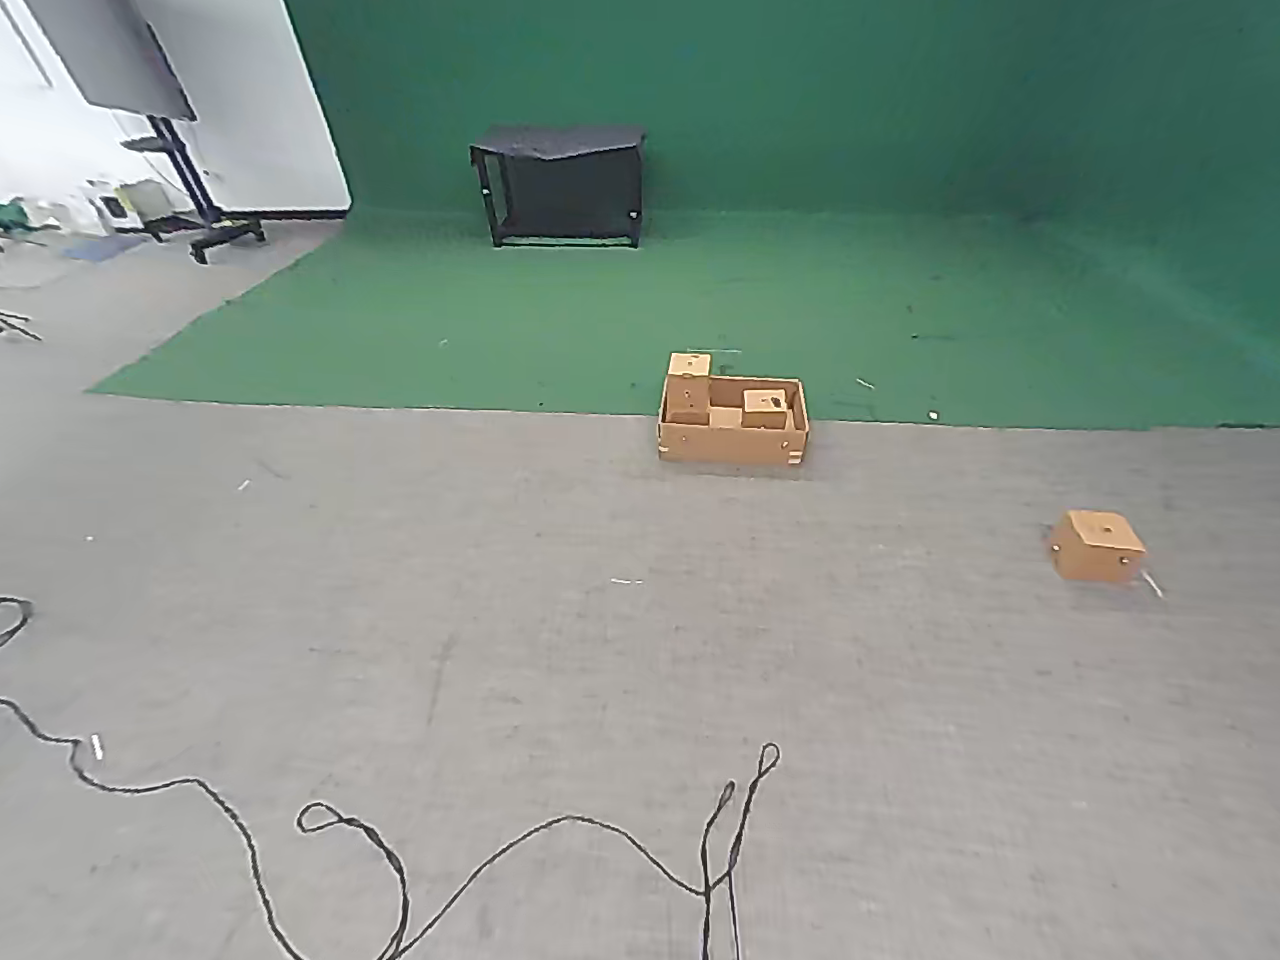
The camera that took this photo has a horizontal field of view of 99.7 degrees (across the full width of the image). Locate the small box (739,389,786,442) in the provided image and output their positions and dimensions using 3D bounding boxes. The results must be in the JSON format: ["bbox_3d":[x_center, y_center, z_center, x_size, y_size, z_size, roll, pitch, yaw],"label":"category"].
[{"bbox_3d":[0.528,-0.277,2.342,0.179,0.176,0.168,3,43,7],"label":"small box"}]

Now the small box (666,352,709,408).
[{"bbox_3d":[0.201,-0.416,2.264,0.168,0.176,0.179,5,44,7],"label":"small box"}]

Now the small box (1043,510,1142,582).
[{"bbox_3d":[1.518,0.226,1.827,0.179,0.176,0.168,6,42,9],"label":"small box"}]
